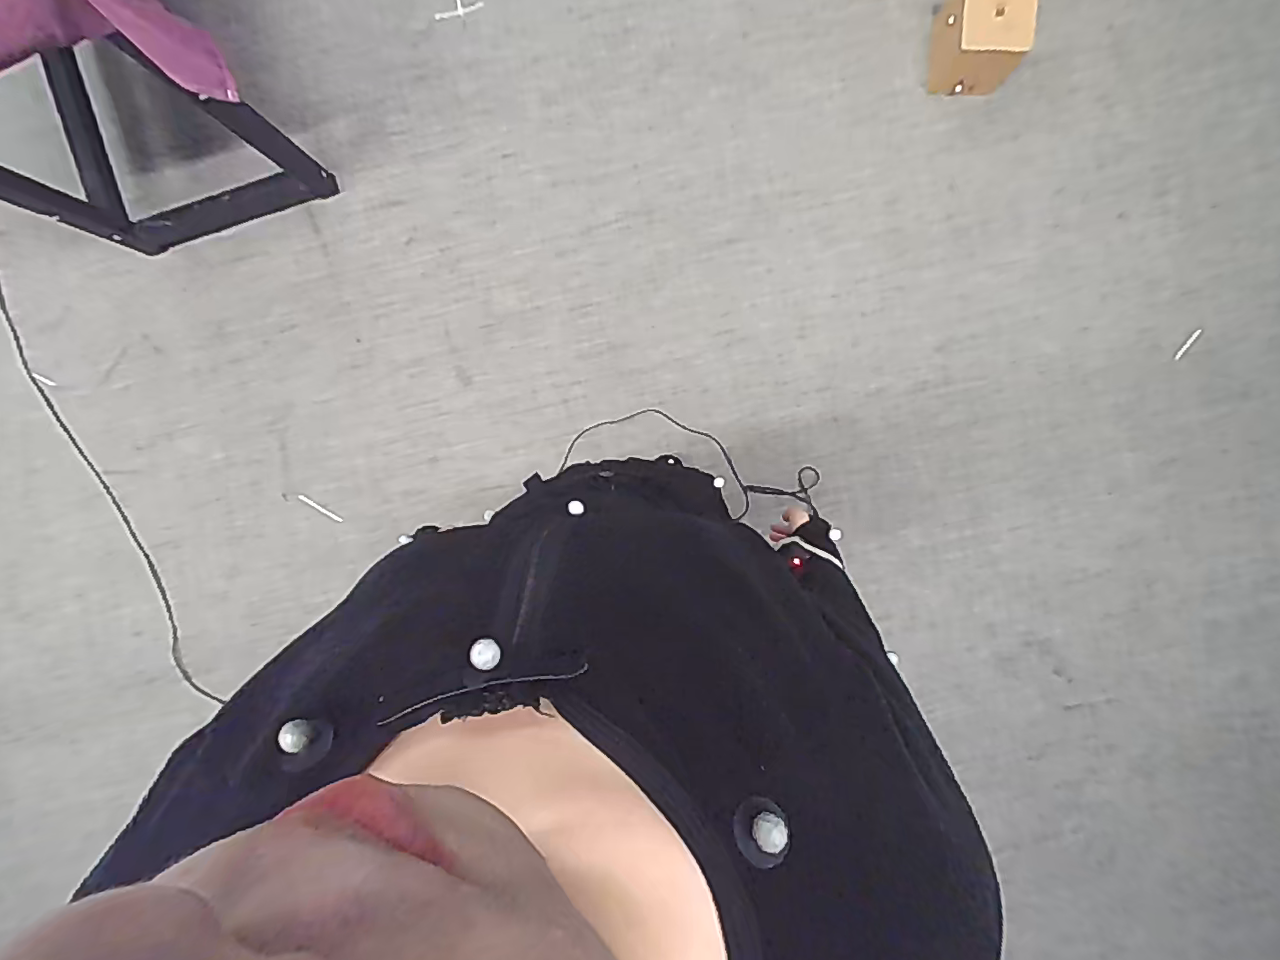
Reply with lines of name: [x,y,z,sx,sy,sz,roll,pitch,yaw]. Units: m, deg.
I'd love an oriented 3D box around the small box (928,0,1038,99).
small box: [0.836,-1.087,1.331,0.168,0.176,0.179,4,94,2]
